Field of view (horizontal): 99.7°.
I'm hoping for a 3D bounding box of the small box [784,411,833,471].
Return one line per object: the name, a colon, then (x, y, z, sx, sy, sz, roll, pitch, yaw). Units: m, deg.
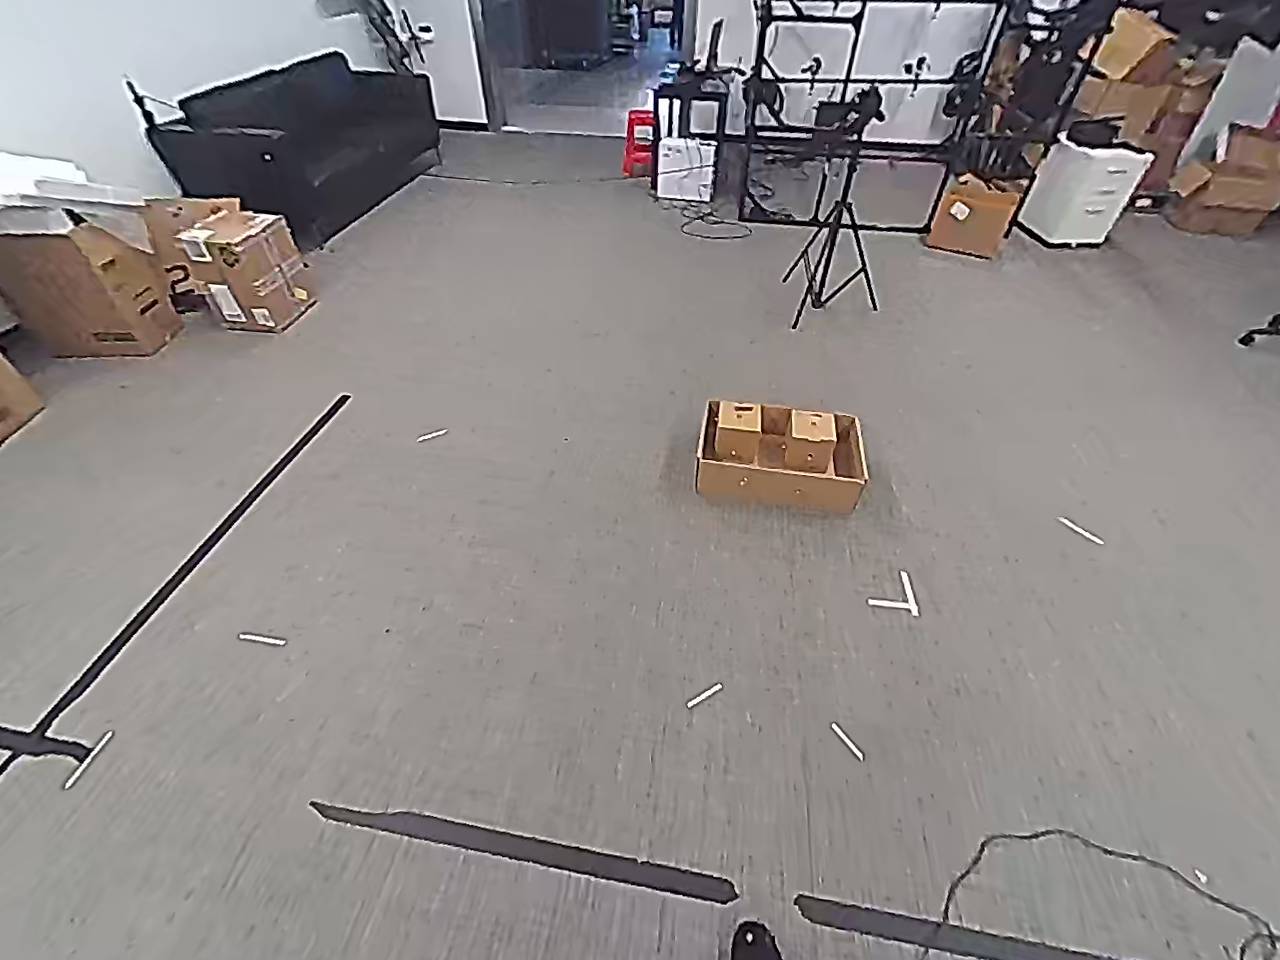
small box: (0.674, -0.155, 2.165, 0.168, 0.176, 0.179, 6, 46, 10)
